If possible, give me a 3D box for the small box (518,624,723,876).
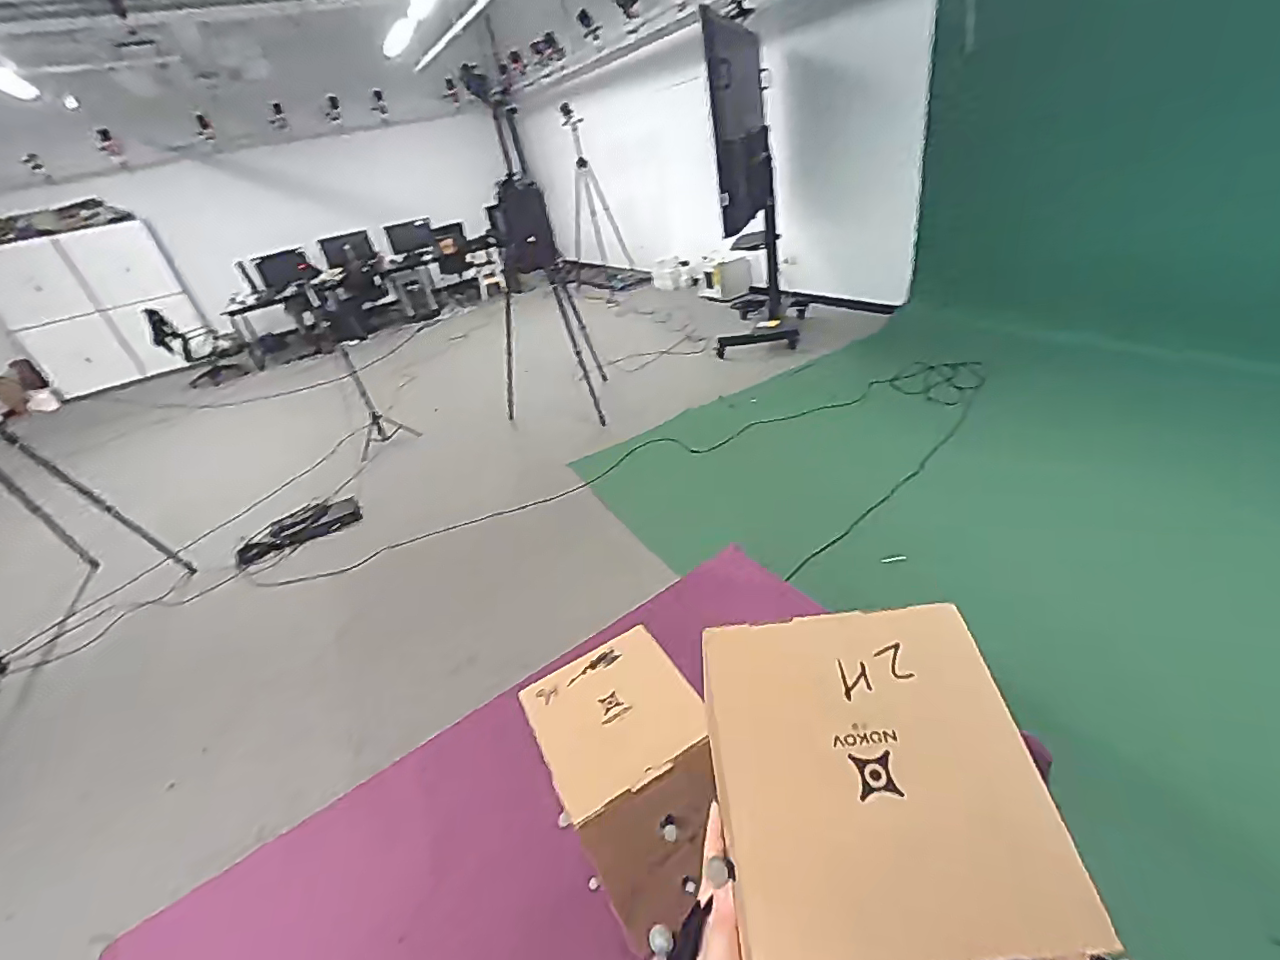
[{"bbox_3d":[-0.017,0.310,0.622,0.168,0.176,0.179,-24,34,-18],"label":"small box"}]

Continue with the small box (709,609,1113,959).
[{"bbox_3d":[0.140,0.208,0.361,0.168,0.176,0.179,-6,49,3],"label":"small box"}]
